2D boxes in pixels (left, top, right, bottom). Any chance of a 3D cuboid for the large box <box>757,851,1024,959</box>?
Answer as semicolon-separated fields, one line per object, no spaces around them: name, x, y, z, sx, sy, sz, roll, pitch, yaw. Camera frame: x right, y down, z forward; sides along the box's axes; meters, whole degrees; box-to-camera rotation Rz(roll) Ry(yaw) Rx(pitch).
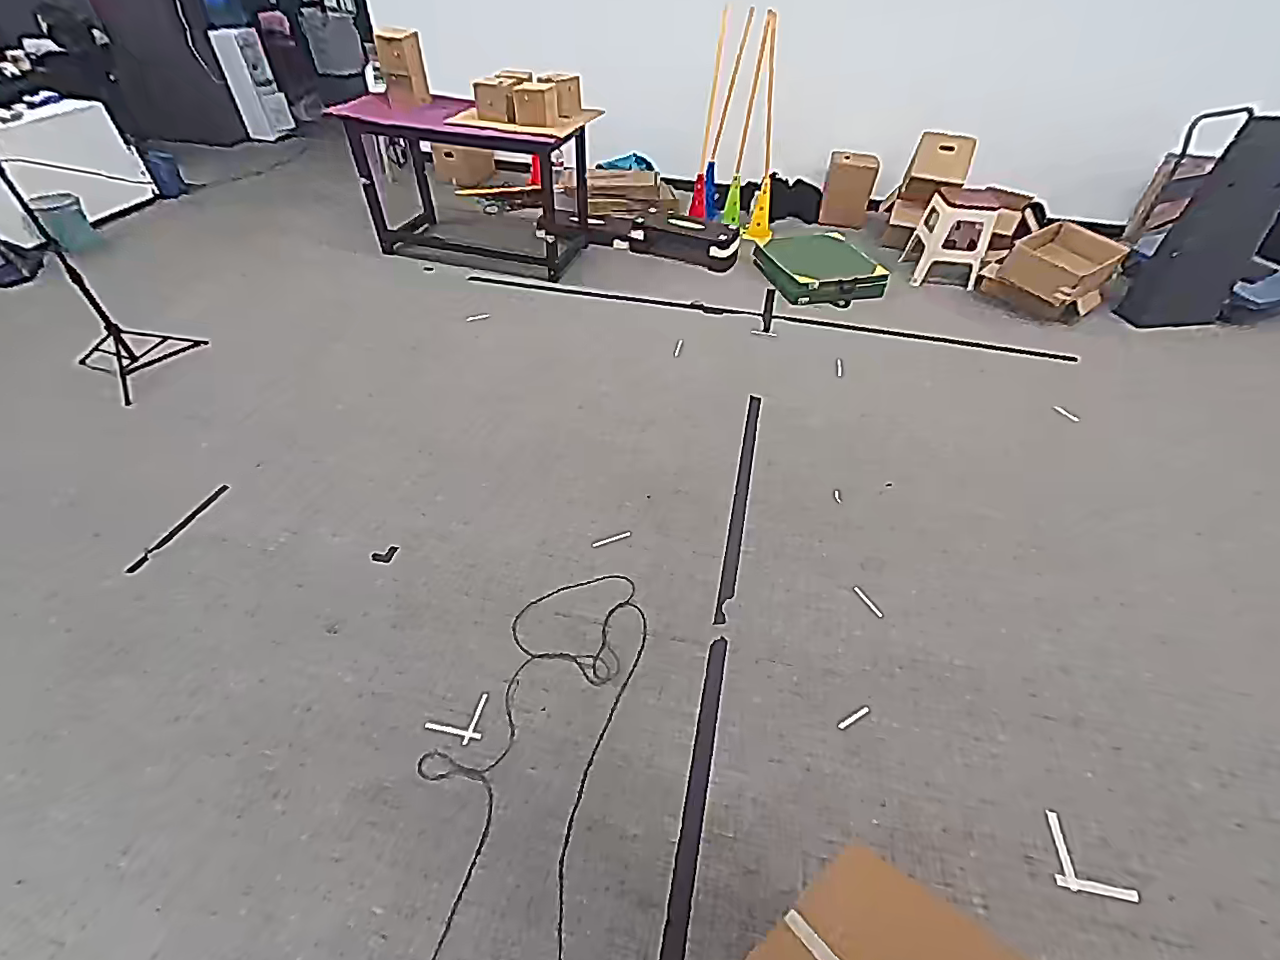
large box;0.377;0.770;0.653;0.320;0.408;0.320;-35;88;-18
